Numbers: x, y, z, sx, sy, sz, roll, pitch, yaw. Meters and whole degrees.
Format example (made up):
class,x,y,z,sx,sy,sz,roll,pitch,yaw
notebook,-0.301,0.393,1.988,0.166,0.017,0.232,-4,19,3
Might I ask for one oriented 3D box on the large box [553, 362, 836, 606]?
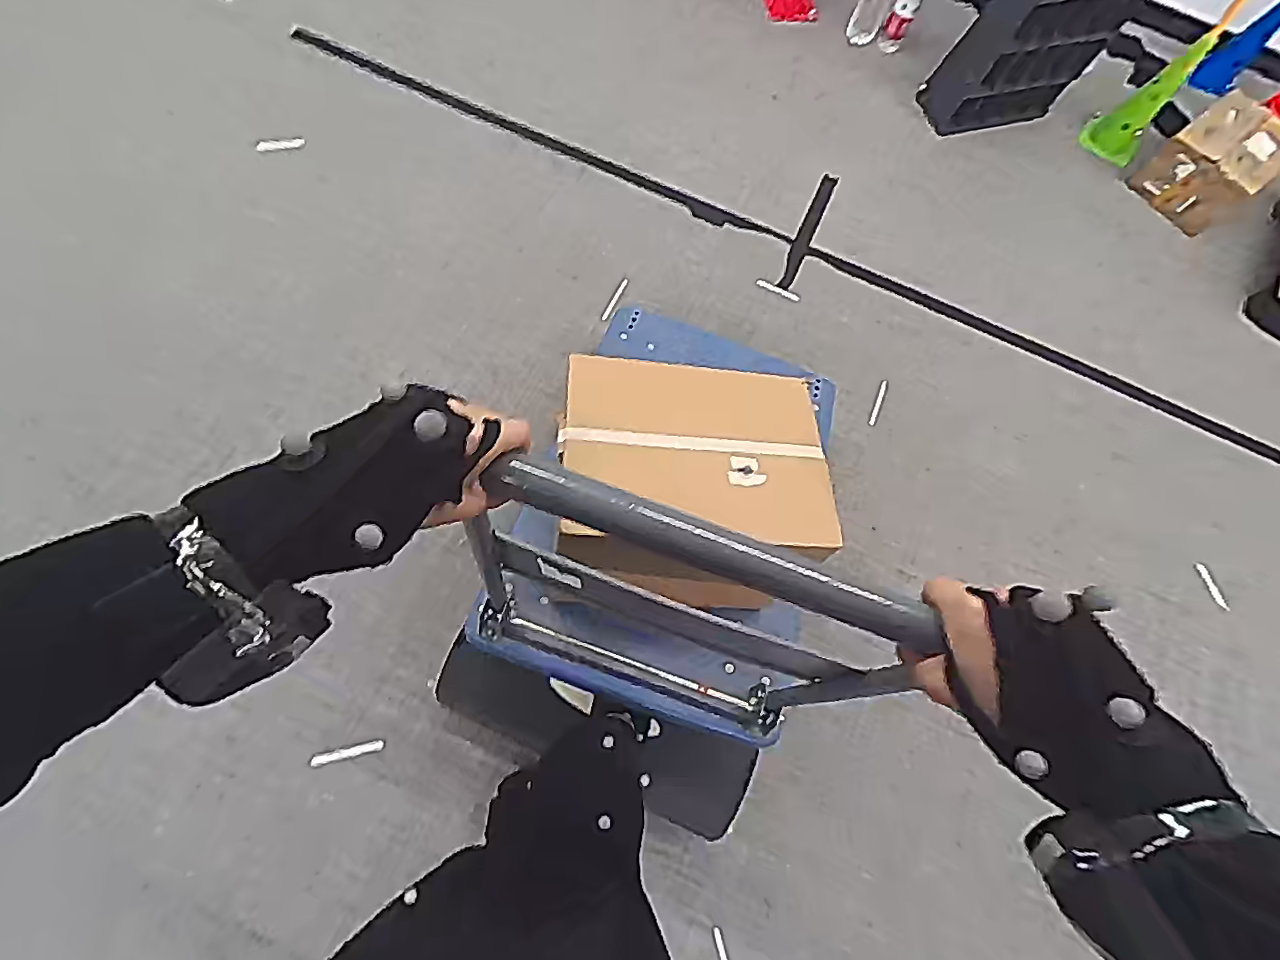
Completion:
class,x,y,z,sx,sy,sz,roll,pitch,yaw
large box,0.060,0.028,0.952,0.408,0.320,0.320,4,61,-11
